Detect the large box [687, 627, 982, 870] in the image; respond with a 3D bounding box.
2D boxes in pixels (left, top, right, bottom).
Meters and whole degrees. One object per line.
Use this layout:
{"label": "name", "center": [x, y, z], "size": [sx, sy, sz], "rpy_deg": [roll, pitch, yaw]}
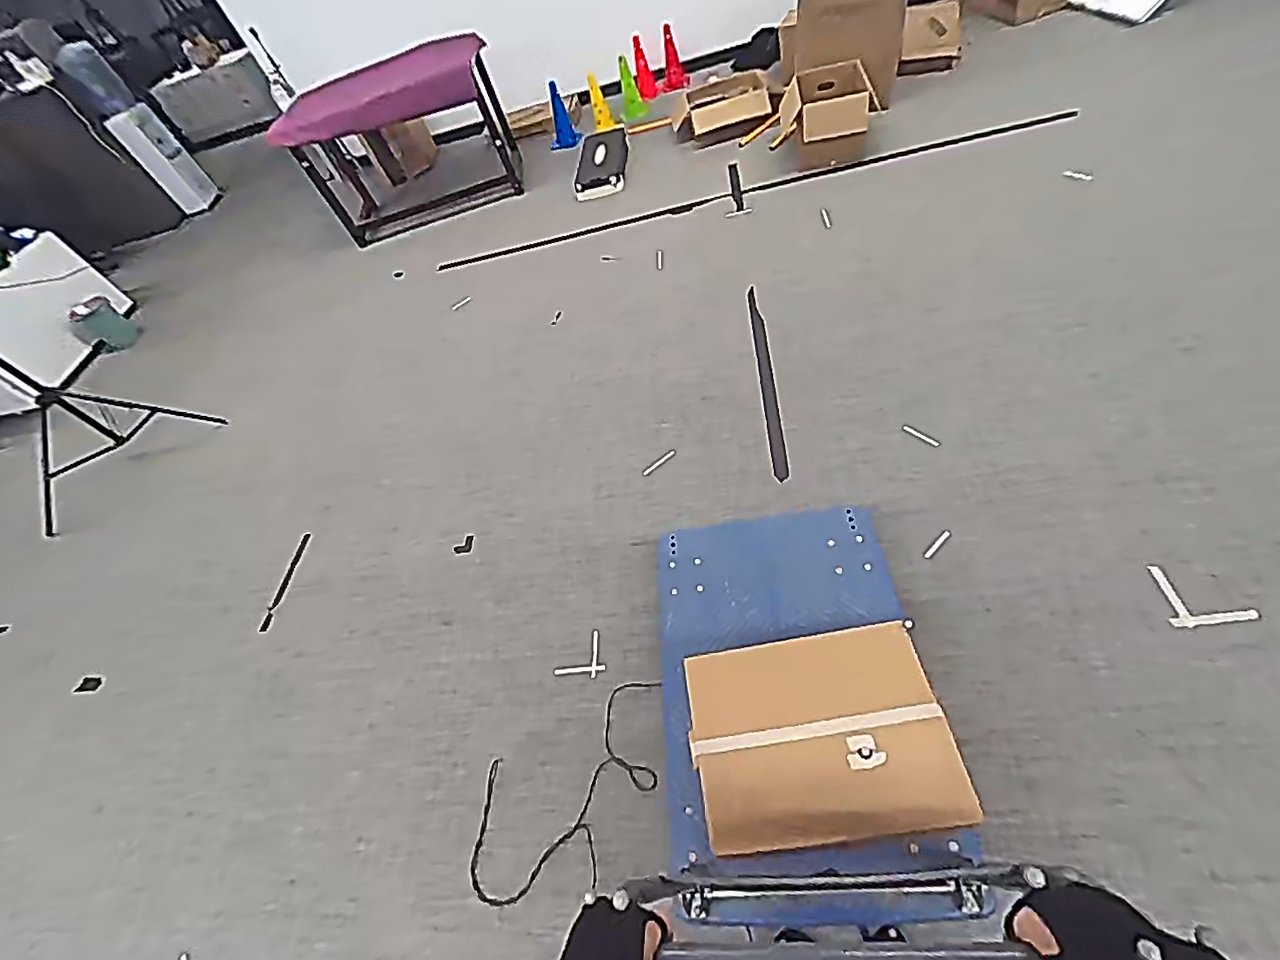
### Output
{"label": "large box", "center": [0.327, 0.515, 1.018], "size": [0.408, 0.320, 0.320], "rpy_deg": [-12, 52, 7]}
